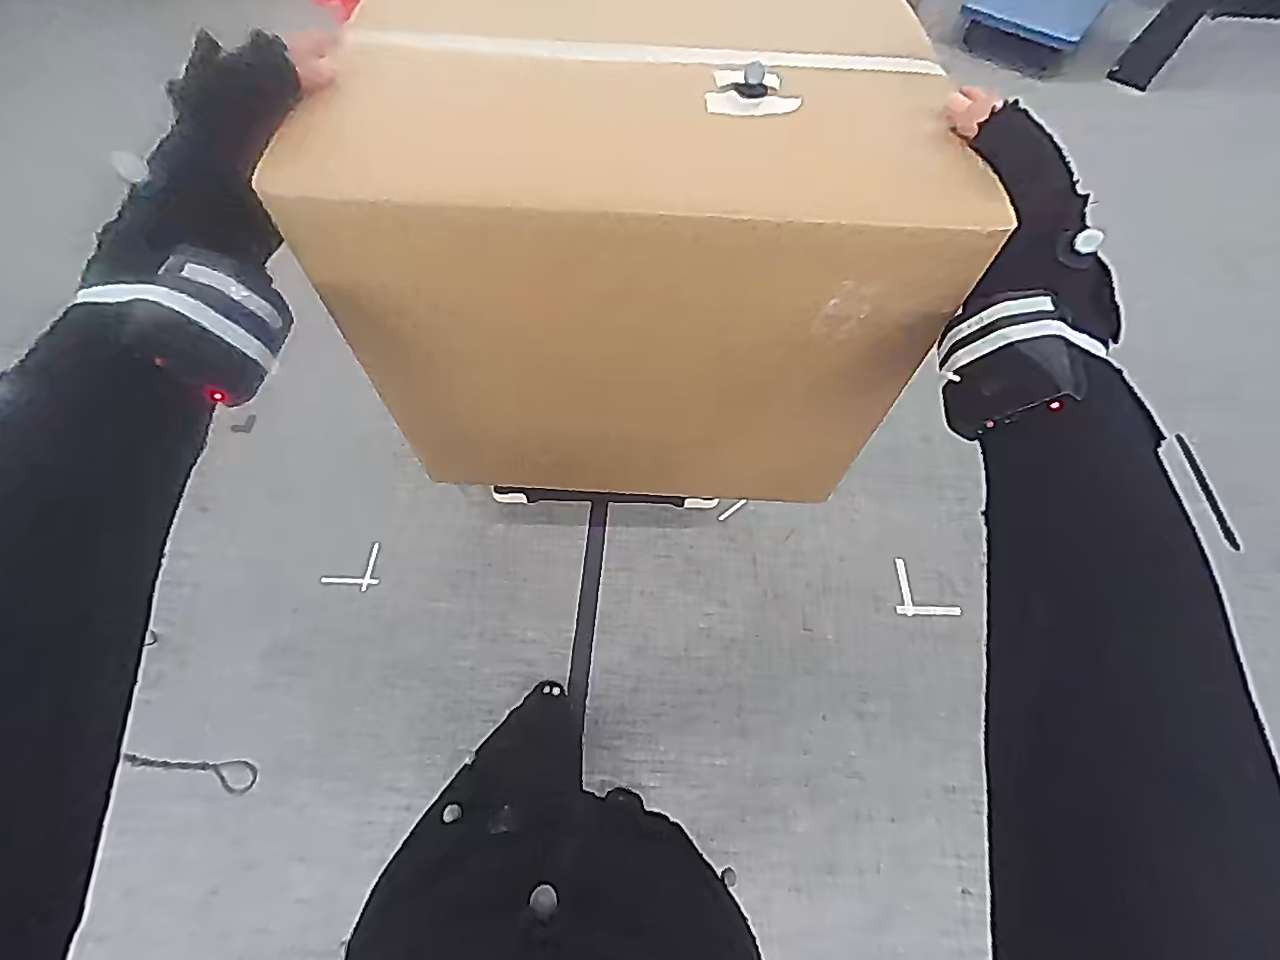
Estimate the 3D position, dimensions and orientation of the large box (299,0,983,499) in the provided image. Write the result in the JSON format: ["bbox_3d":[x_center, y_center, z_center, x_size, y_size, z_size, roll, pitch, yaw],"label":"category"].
[{"bbox_3d":[0.000,-0.192,0.512,0.408,0.320,0.320,3,60,-1],"label":"large box"}]
